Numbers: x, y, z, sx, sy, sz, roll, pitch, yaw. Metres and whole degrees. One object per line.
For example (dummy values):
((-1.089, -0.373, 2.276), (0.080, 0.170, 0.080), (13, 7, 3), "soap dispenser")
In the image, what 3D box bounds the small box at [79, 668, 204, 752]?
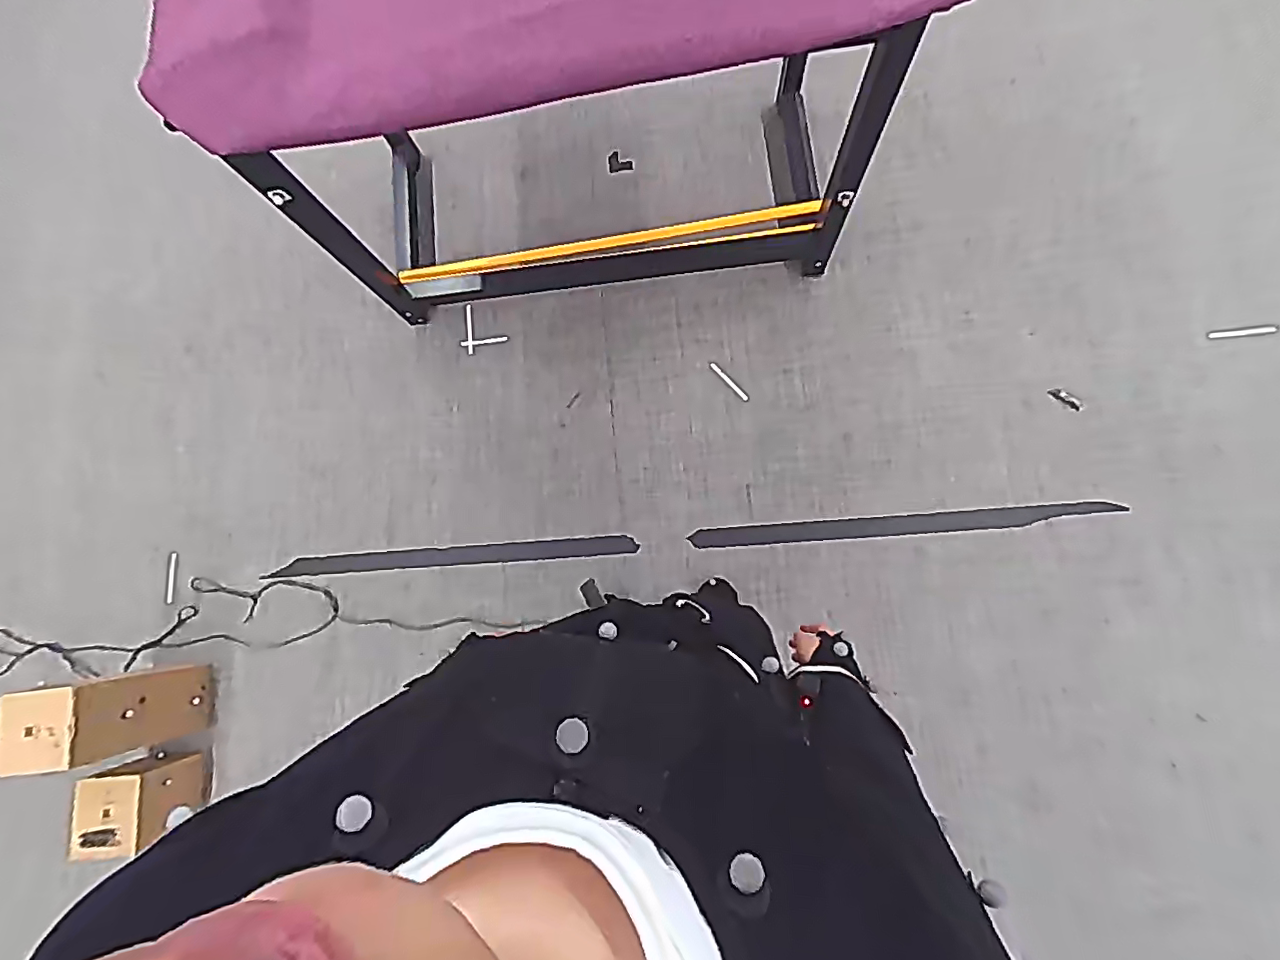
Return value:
((-1.235, 0.565, 1.335), (0.179, 0.176, 0.168), (-6, 79, 3), "small box")

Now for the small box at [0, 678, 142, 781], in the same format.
((-1.247, 0.535, 1.173), (0.179, 0.176, 0.168), (-7, 80, 3), "small box")
